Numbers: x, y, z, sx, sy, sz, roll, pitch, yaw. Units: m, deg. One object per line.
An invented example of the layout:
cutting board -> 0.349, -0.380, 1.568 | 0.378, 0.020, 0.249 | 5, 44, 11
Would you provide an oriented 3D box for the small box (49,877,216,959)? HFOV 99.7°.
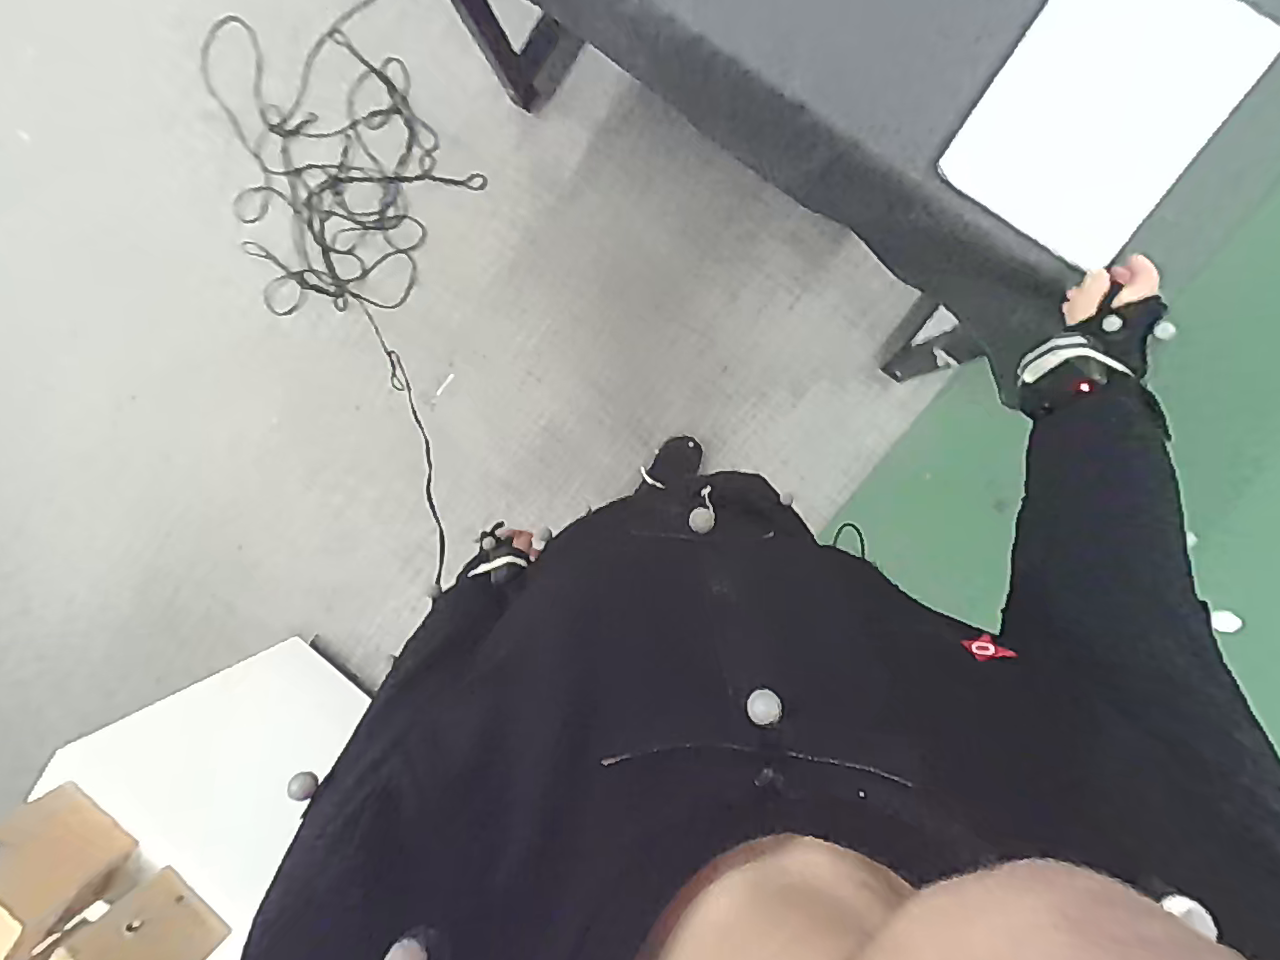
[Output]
small box -> -0.835, 0.796, 0.862 | 0.168, 0.176, 0.179 | 43, 100, 5
